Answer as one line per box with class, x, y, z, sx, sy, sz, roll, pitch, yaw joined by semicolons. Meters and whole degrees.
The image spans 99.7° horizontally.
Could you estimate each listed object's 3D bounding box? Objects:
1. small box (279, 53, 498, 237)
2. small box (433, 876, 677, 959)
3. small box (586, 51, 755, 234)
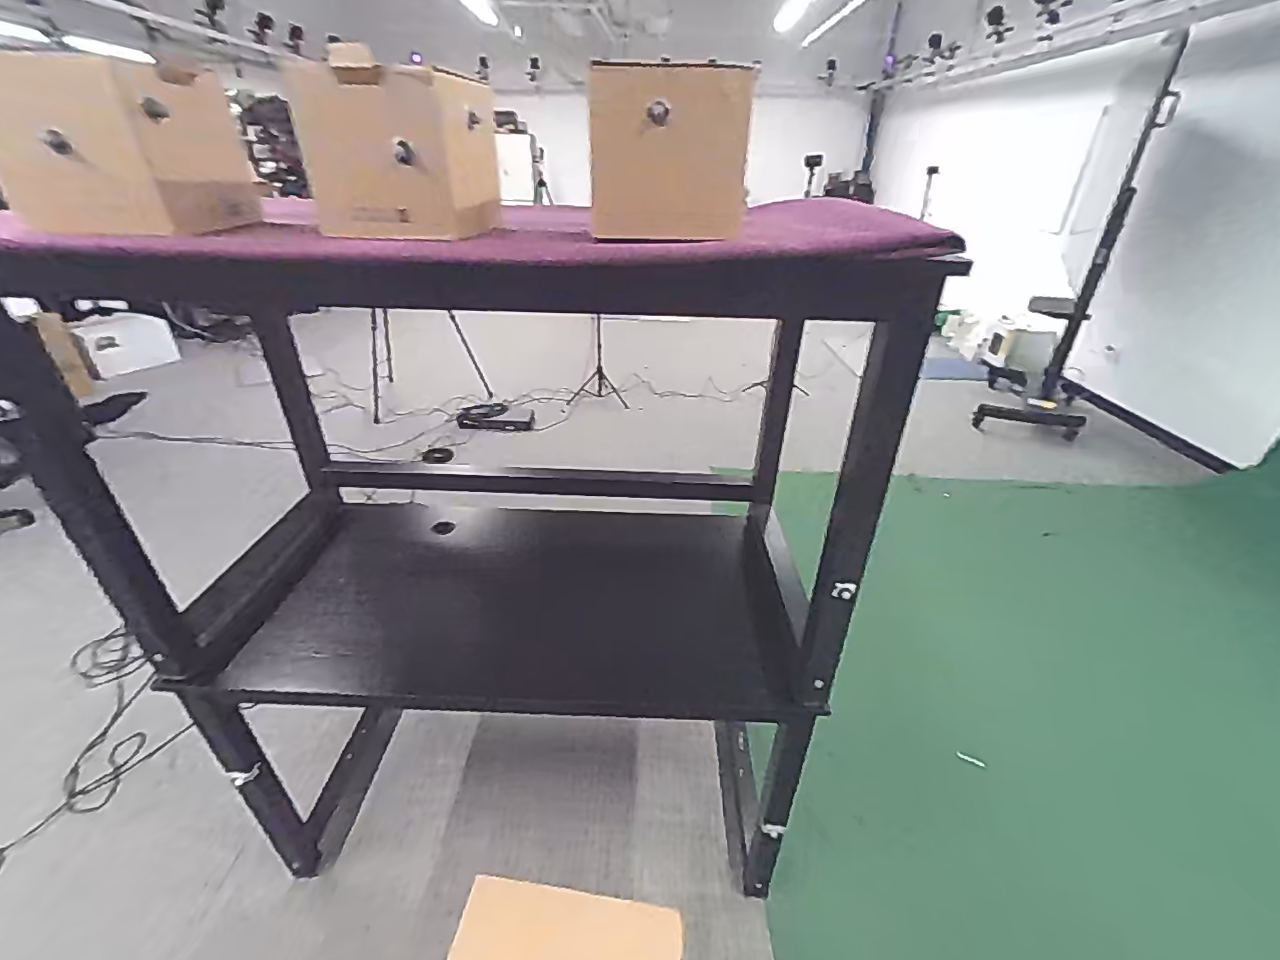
small box;-0.279;-0.394;0.651;0.168;0.176;0.179;4;30;3
small box;-0.073;0.437;0.396;0.179;0.176;0.168;8;28;3
small box;0.034;-0.393;0.654;0.179;0.176;0.168;1;28;1
